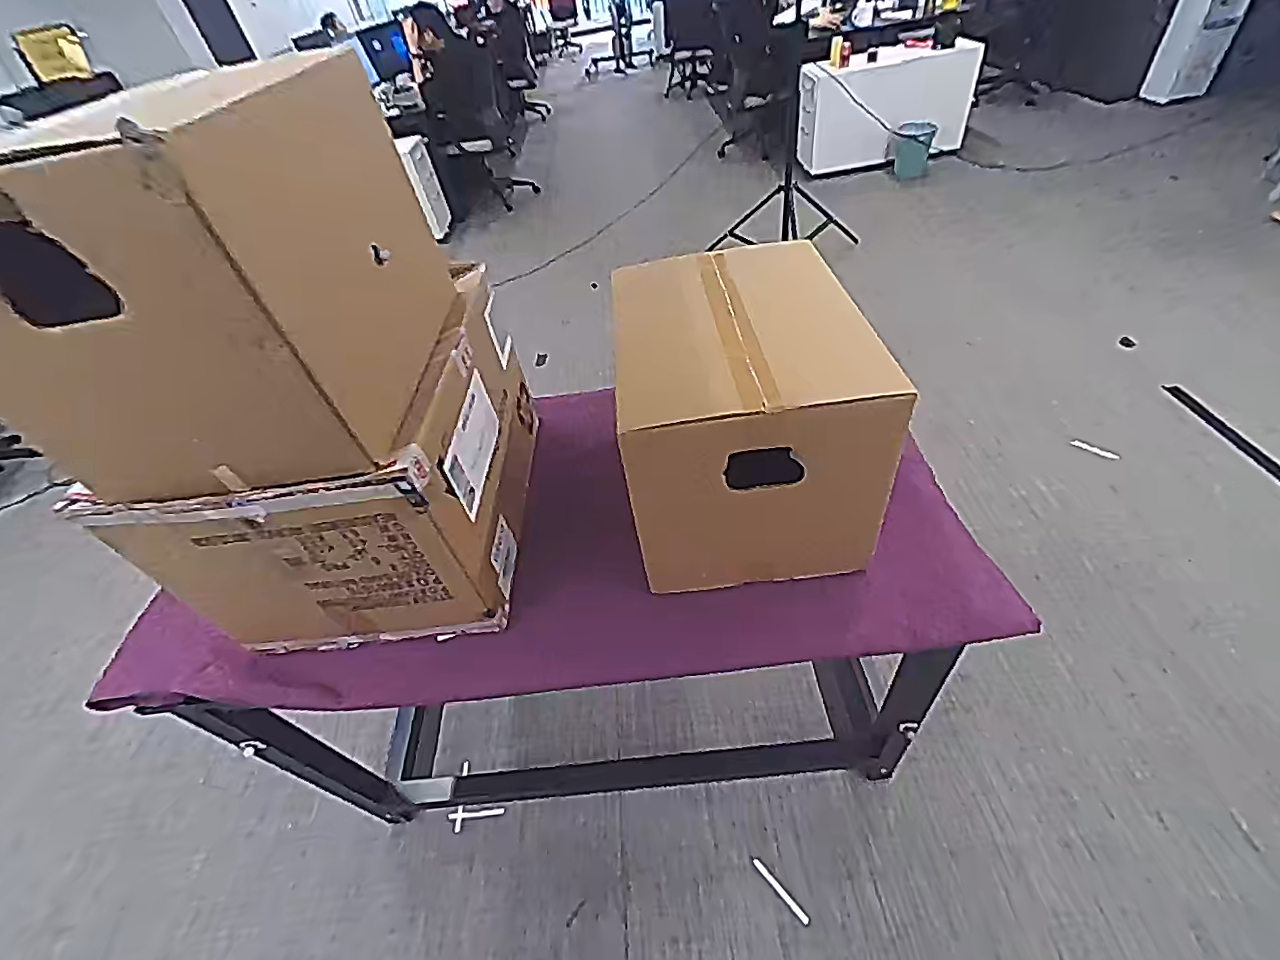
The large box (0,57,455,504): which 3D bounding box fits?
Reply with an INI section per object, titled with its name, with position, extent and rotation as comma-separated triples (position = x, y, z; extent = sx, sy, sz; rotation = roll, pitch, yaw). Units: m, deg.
[large box]
position = -0.441, -0.235, 0.616
extent = 0.320, 0.320, 0.408
rotation = -9, 45, 4
